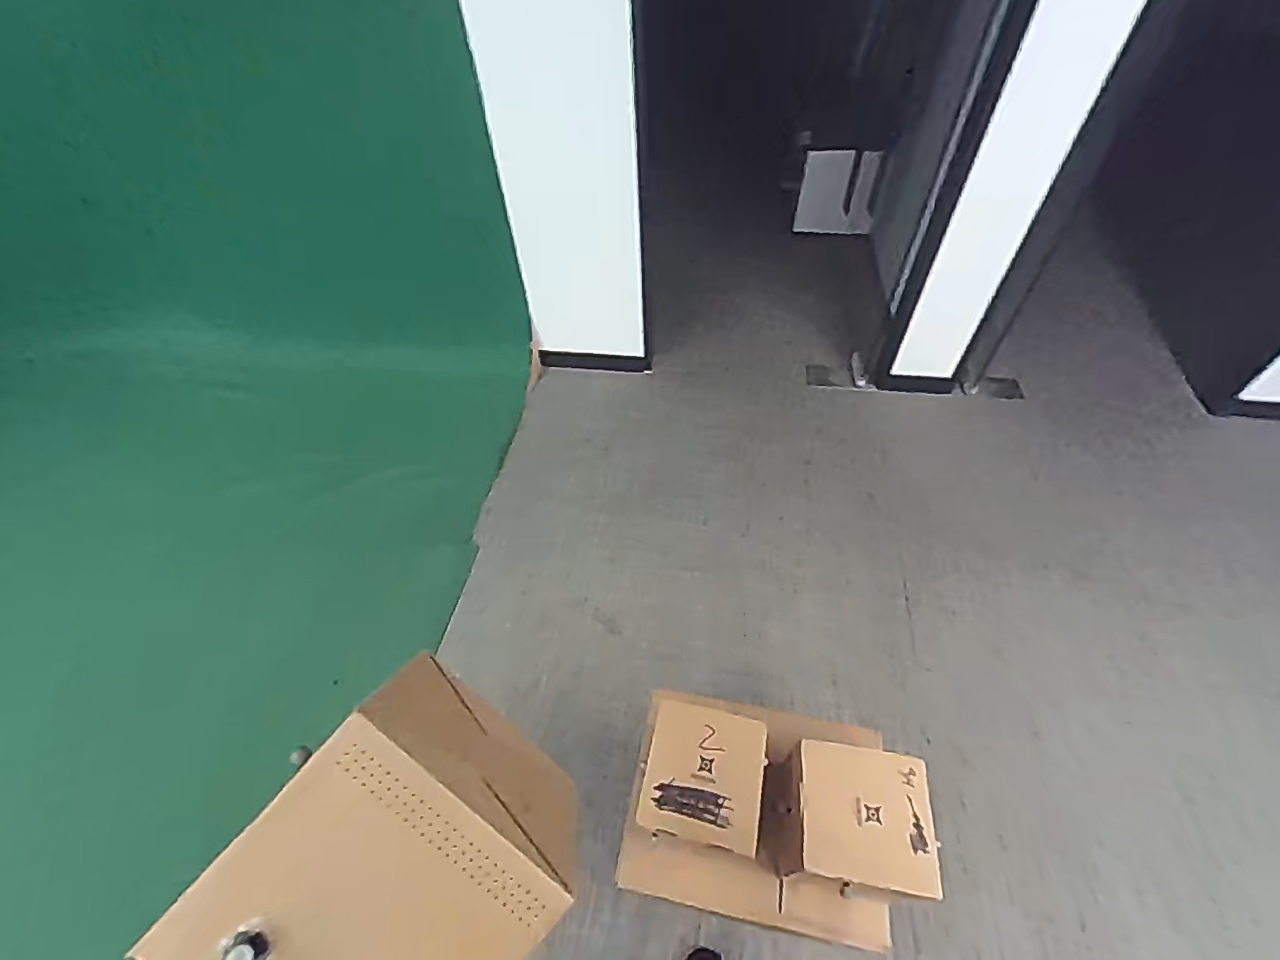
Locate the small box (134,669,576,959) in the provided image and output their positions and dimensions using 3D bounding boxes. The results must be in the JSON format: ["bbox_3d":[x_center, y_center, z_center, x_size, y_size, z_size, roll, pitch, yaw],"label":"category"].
[{"bbox_3d":[-0.167,0.265,0.381,0.179,0.168,0.176,42,81,-2],"label":"small box"}]
